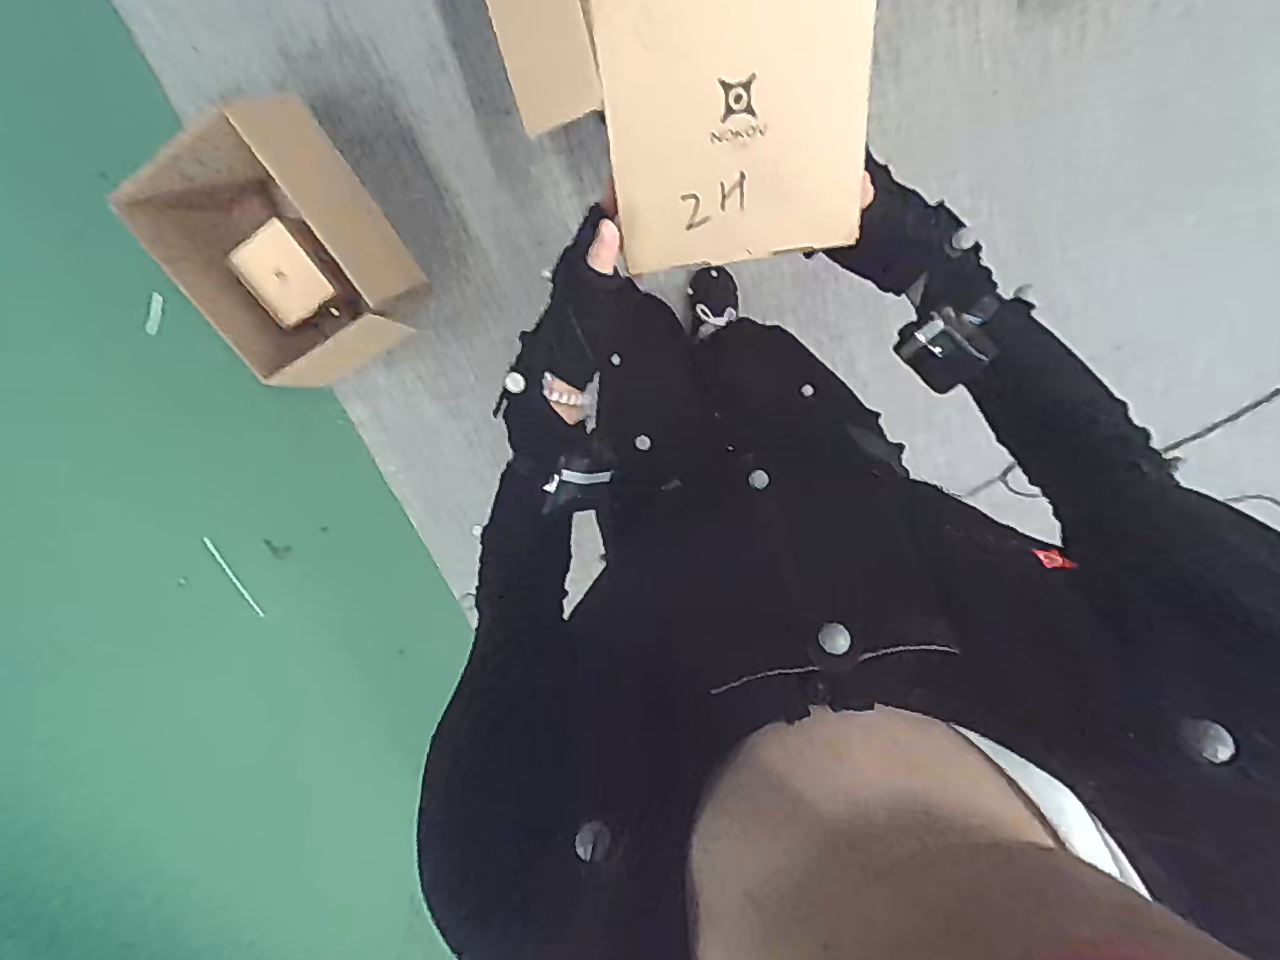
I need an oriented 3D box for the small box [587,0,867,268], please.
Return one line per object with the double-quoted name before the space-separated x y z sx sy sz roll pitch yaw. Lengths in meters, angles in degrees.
"small box" 0.053 -0.275 0.408 0.168 0.176 0.179 -7 122 3
